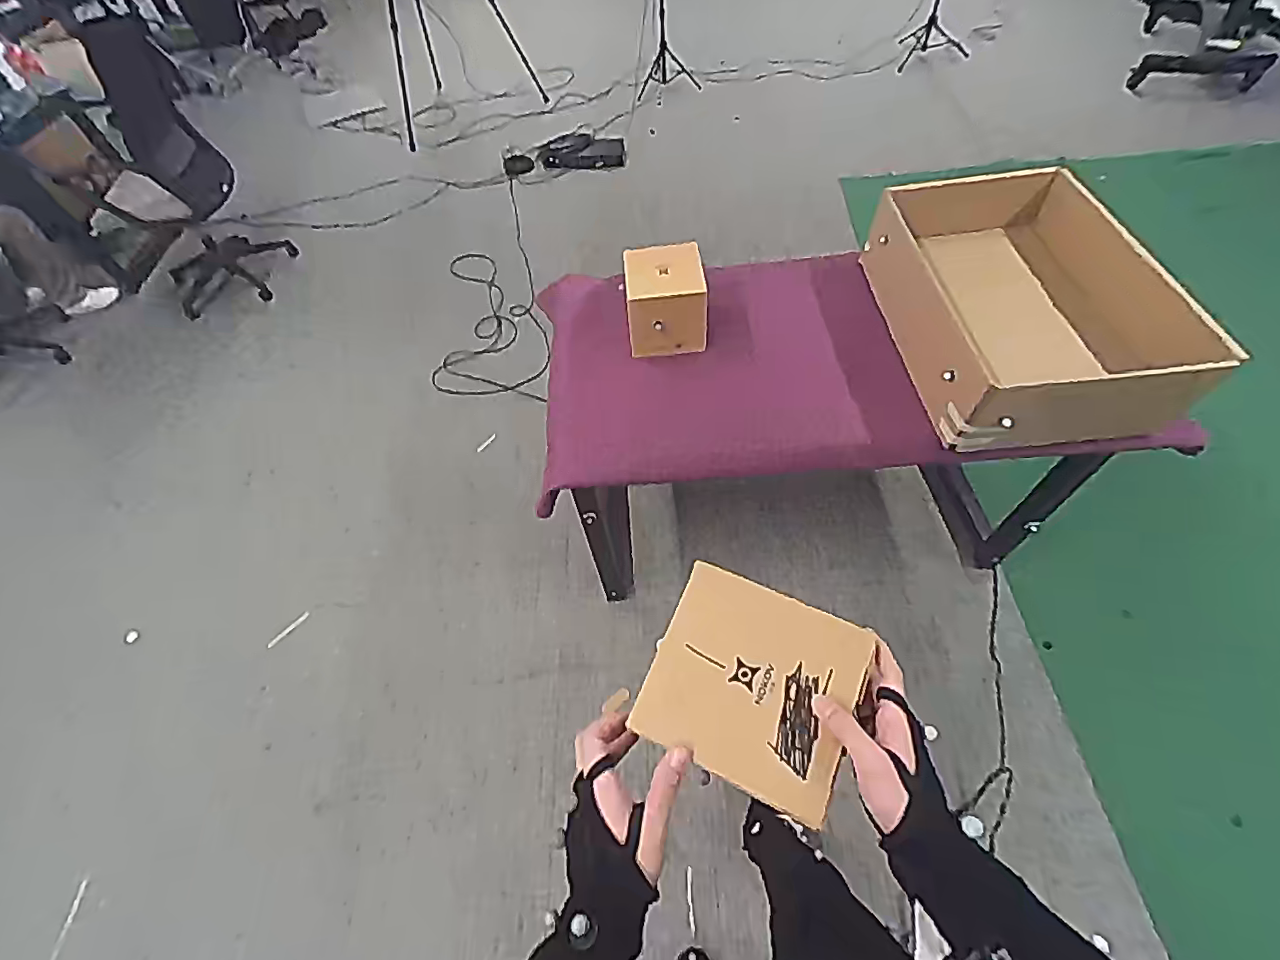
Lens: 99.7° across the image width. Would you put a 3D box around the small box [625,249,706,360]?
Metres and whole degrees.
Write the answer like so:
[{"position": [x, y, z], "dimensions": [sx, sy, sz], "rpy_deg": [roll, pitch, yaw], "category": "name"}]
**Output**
[{"position": [0.059, -0.386, 1.214], "dimensions": [0.168, 0.176, 0.179], "rpy_deg": [-6, 54, 2], "category": "small box"}]
